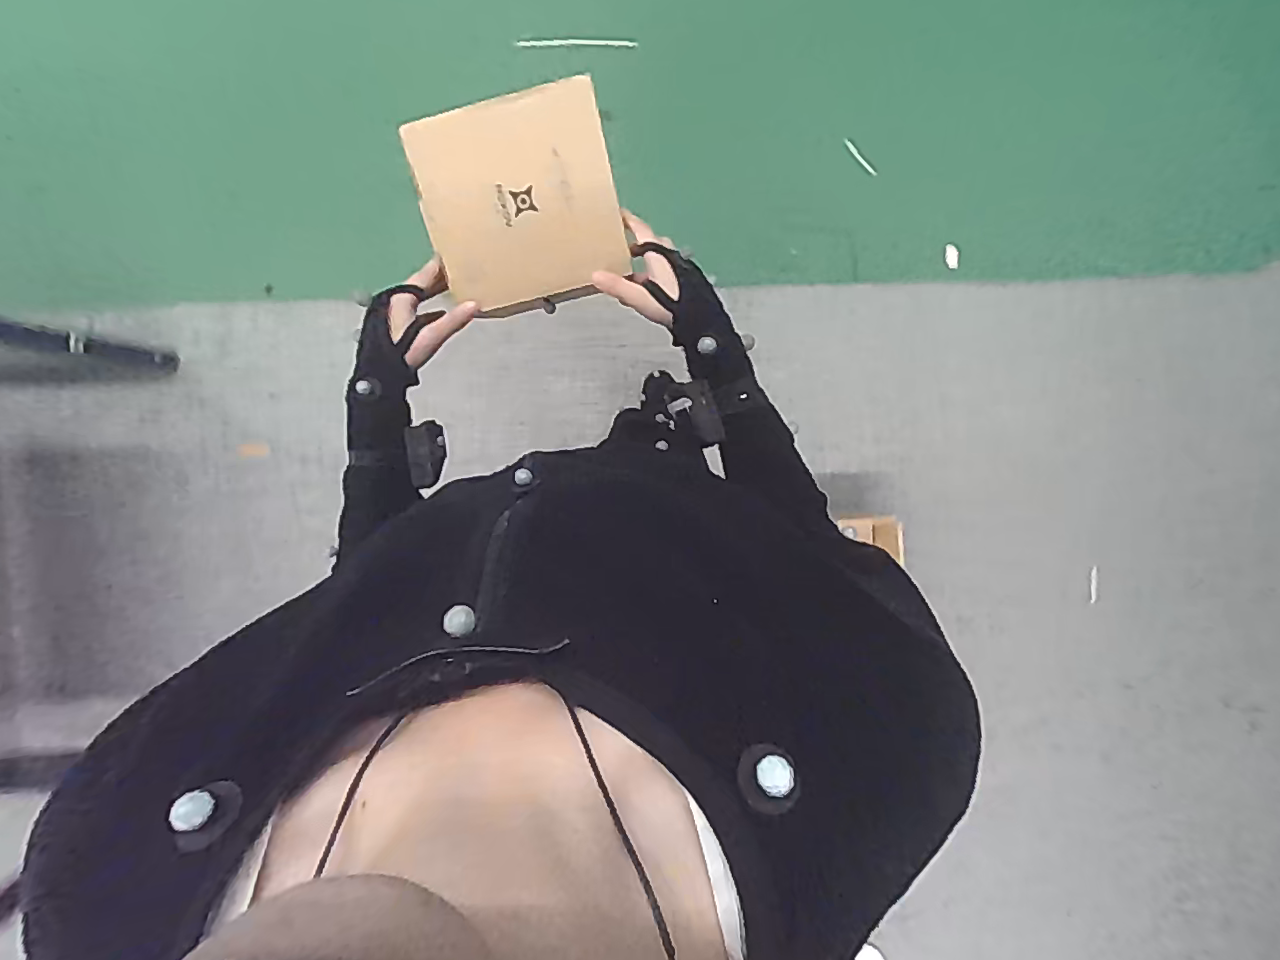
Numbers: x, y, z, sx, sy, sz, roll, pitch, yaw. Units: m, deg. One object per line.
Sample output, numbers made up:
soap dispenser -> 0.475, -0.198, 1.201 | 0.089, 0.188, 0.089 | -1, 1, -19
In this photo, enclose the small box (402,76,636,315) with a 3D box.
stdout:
small box -> -0.107, -0.274, 0.568 | 0.179, 0.176, 0.168 | -13, 106, 5
